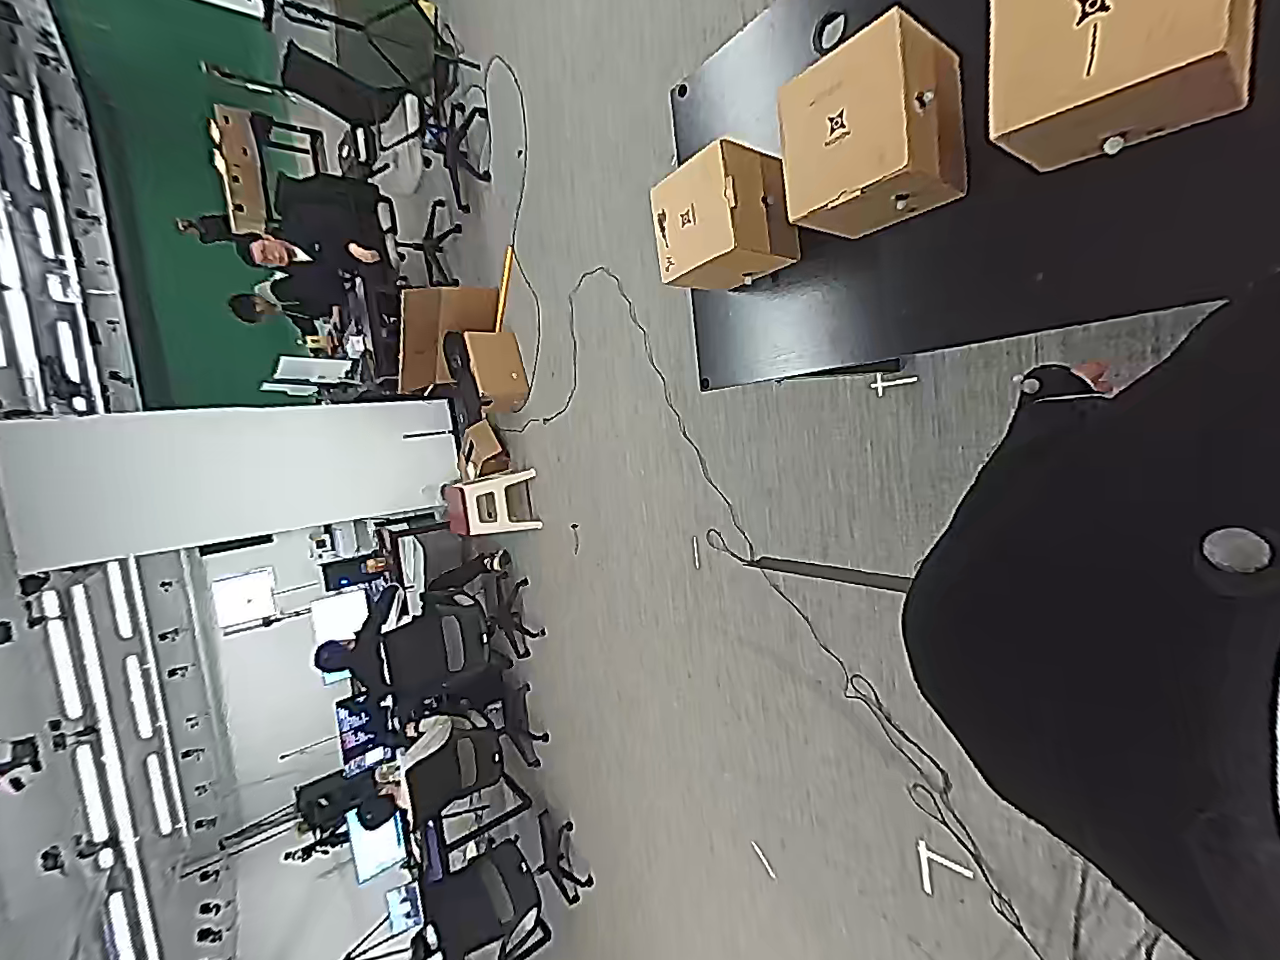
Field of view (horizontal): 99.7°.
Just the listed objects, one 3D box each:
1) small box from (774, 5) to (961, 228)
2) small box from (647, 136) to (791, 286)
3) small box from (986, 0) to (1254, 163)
[{"bbox_3d":[0.301,-0.451,0.712,0.168,0.176,0.179,-1,96,51],"label":"small box"},{"bbox_3d":[0.140,-0.441,0.918,0.179,0.176,0.168,-4,95,52],"label":"small box"},{"bbox_3d":[0.455,-0.437,0.515,0.168,0.176,0.179,6,104,52],"label":"small box"}]
